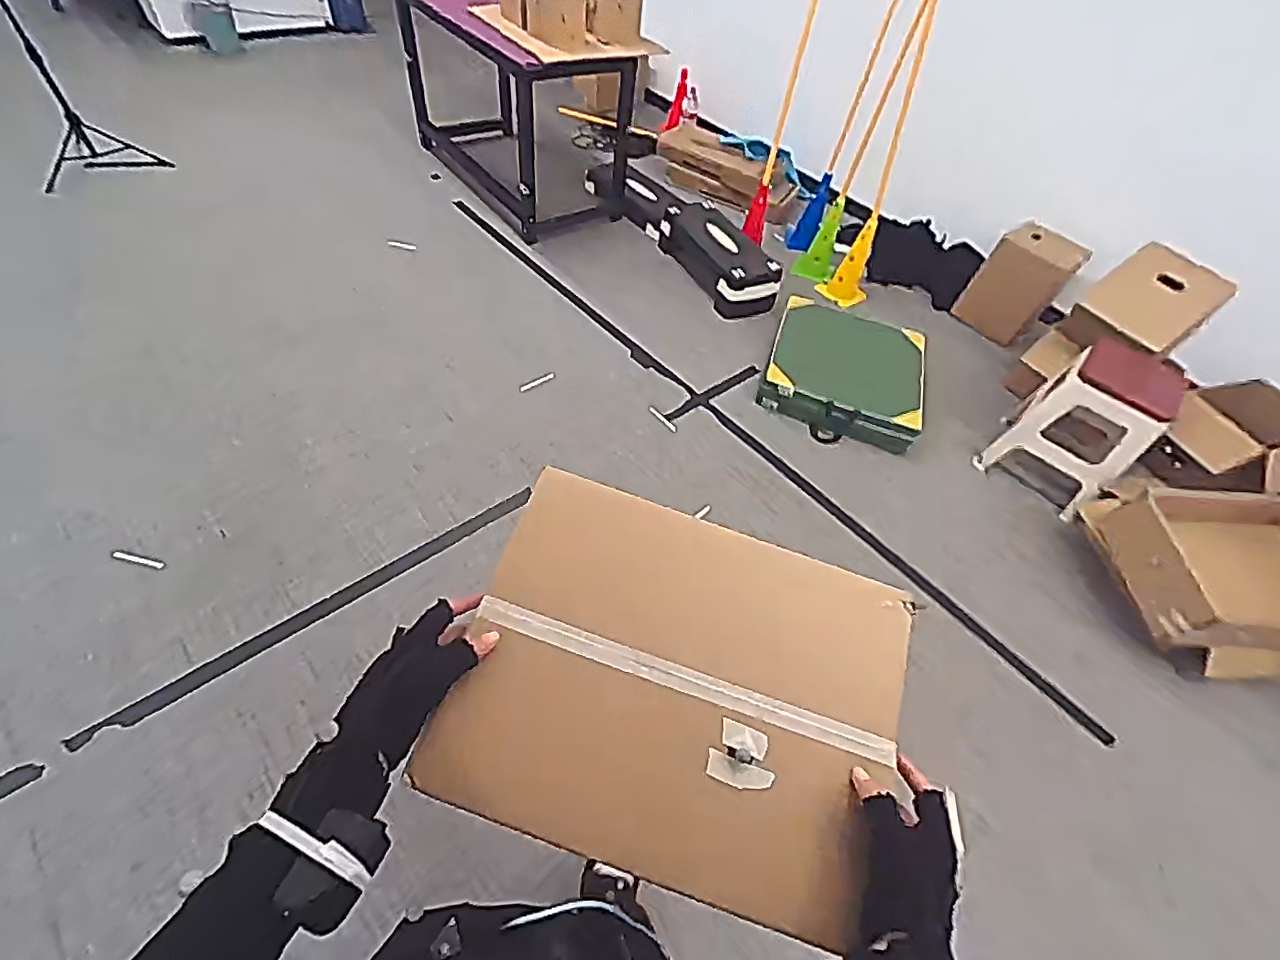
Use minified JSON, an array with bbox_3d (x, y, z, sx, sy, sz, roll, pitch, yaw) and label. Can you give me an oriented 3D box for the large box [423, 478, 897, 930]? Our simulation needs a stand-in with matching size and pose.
[{"bbox_3d":[0.025,0.247,0.657,0.408,0.320,0.320,20,67,2],"label":"large box"}]
